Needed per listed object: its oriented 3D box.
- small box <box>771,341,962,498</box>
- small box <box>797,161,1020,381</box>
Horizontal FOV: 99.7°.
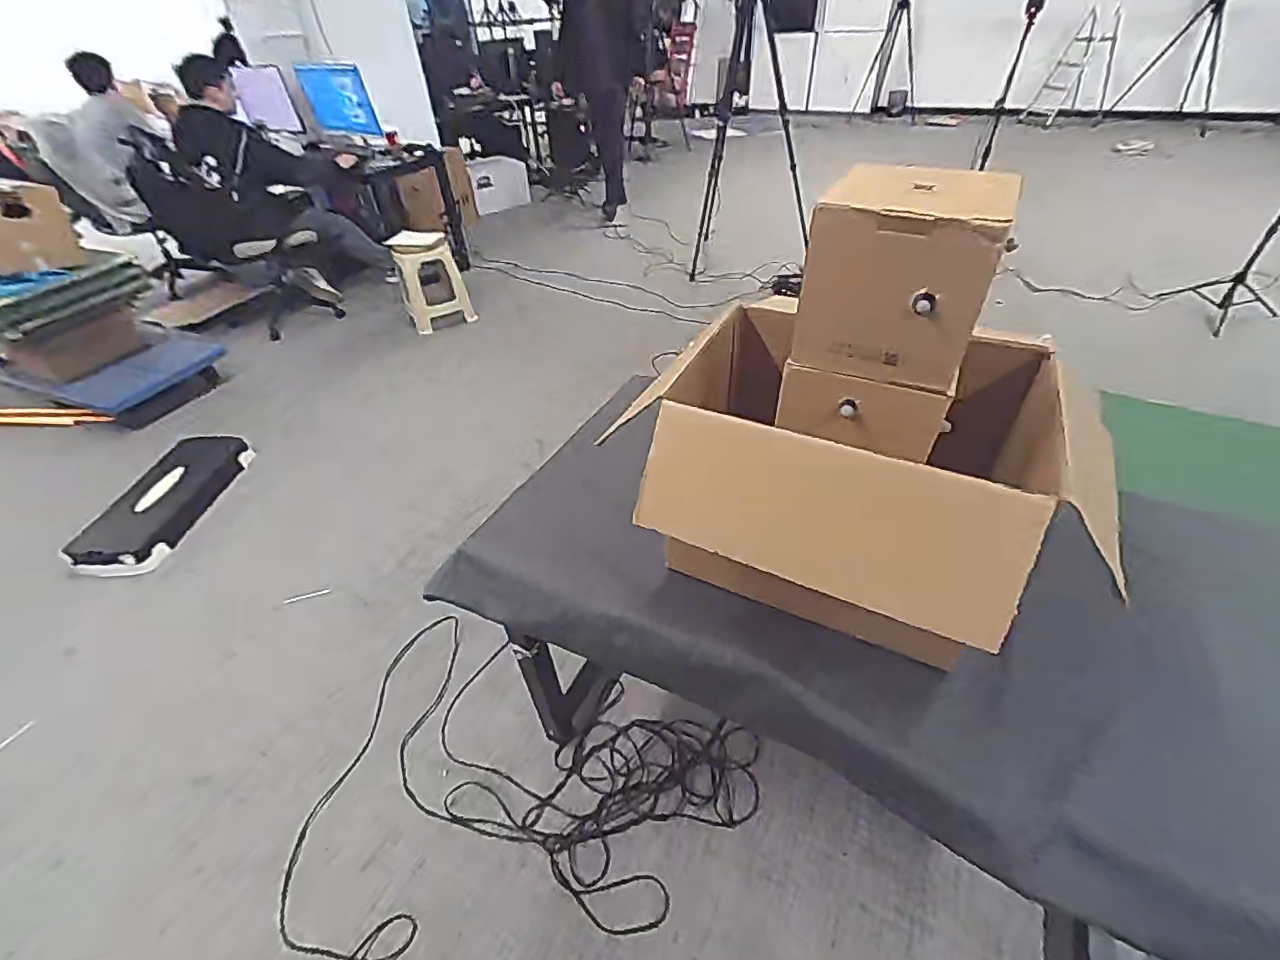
[{"bbox_3d":[0.280,-0.101,0.683,0.179,0.176,0.168,18,45,21],"label":"small box"},{"bbox_3d":[0.278,-0.227,0.581,0.168,0.176,0.179,19,45,22],"label":"small box"}]
